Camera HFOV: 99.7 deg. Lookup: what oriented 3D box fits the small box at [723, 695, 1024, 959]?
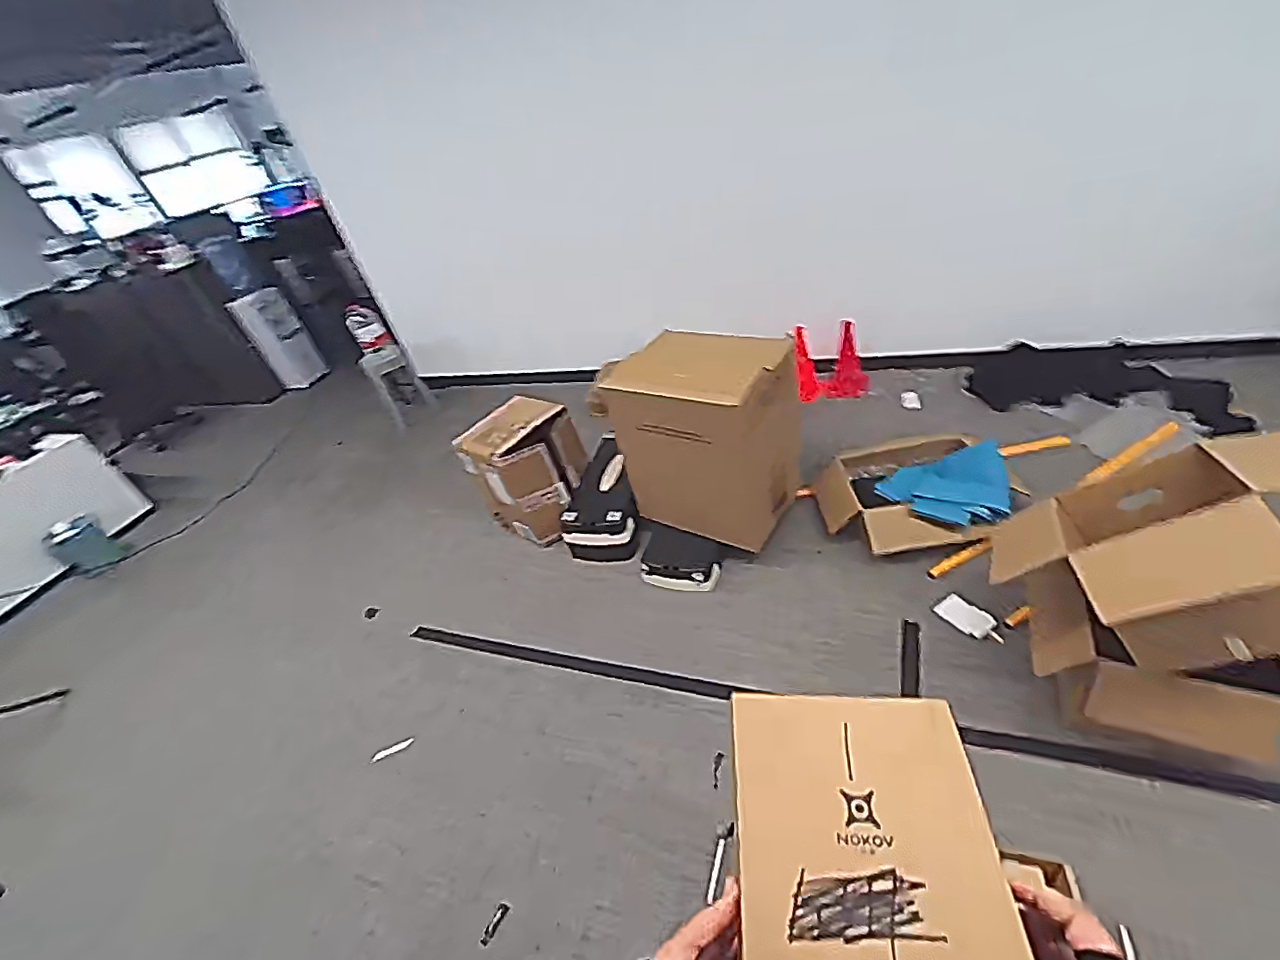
[{"bbox_3d":[0.150,0.289,0.414,0.168,0.176,0.179,0,42,7],"label":"small box"}]
